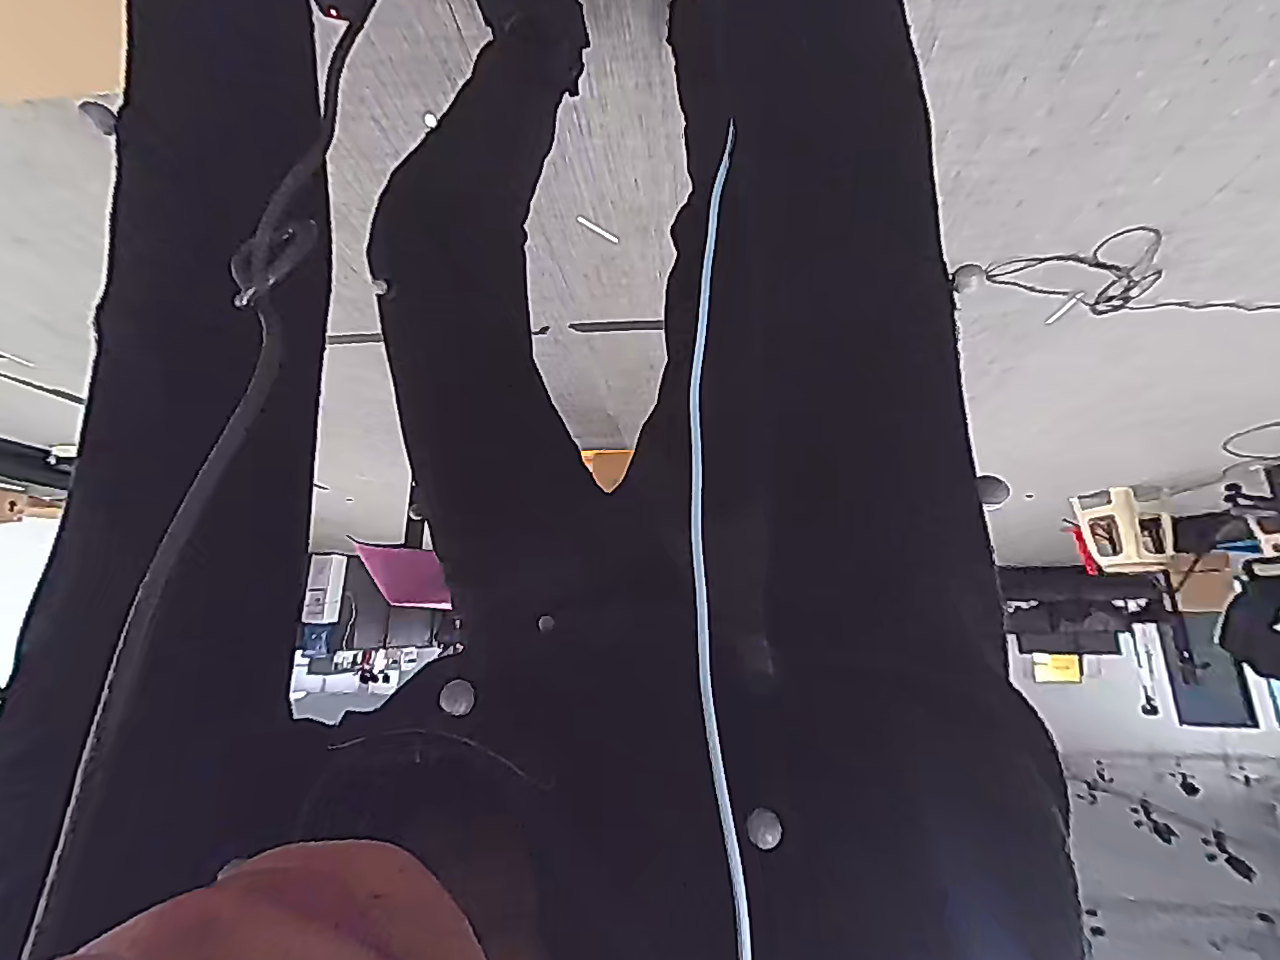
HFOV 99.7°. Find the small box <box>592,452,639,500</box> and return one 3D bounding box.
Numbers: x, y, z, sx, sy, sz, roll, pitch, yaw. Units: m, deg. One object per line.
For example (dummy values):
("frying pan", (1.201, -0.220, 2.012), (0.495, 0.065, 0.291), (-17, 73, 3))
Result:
("small box", (-0.101, -0.017, 2.309), (0.179, 0.176, 0.168), (-1, 165, 8))
